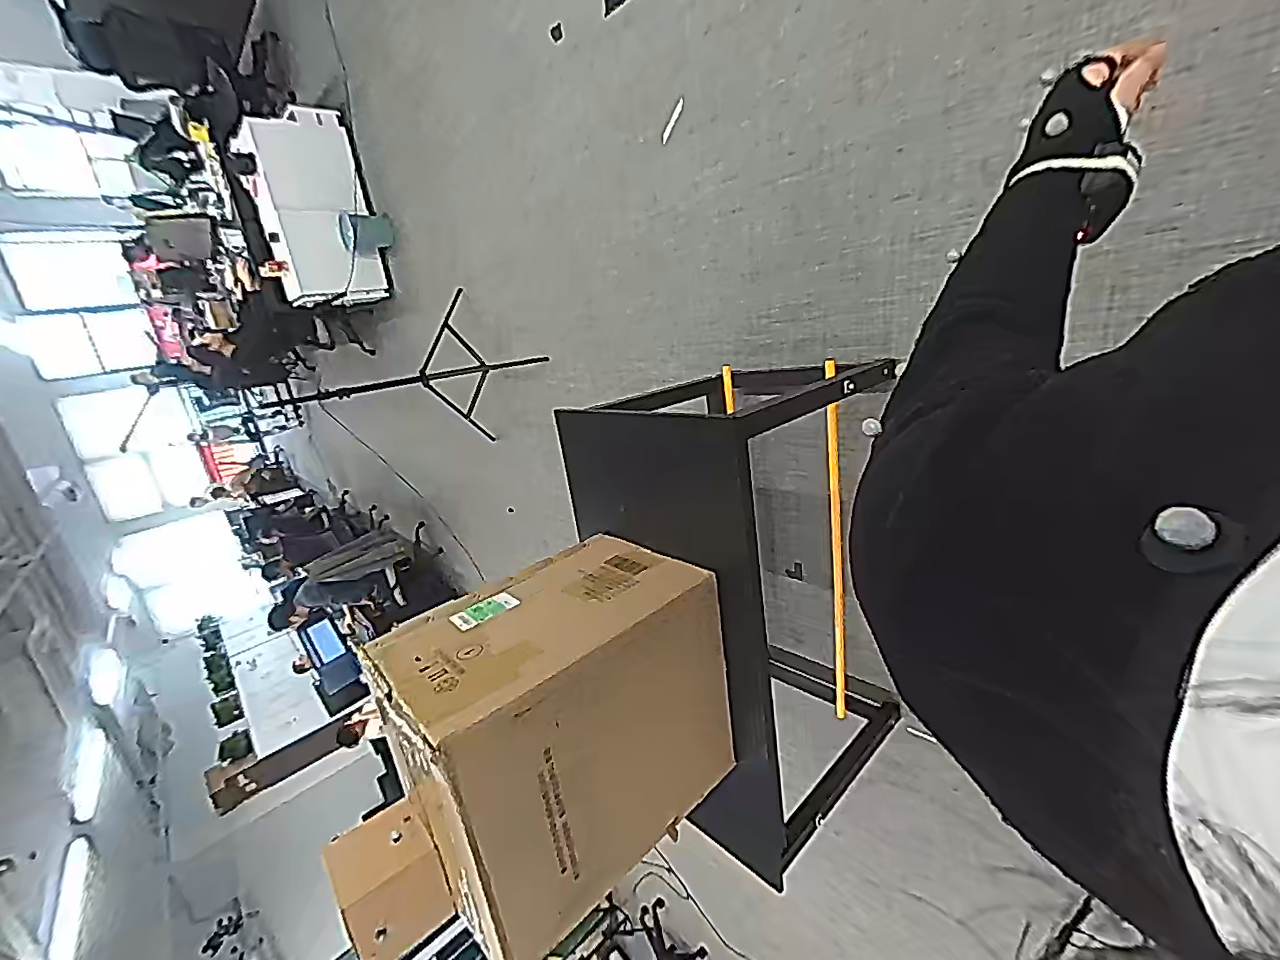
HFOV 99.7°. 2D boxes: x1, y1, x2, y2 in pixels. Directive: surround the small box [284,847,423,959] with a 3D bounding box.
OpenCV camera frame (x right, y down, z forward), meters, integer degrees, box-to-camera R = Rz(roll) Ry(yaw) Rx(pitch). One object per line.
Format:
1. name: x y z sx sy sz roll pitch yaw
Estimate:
1. small box: -0.512 0.828 0.976 0.168 0.176 0.179 13 116 49
